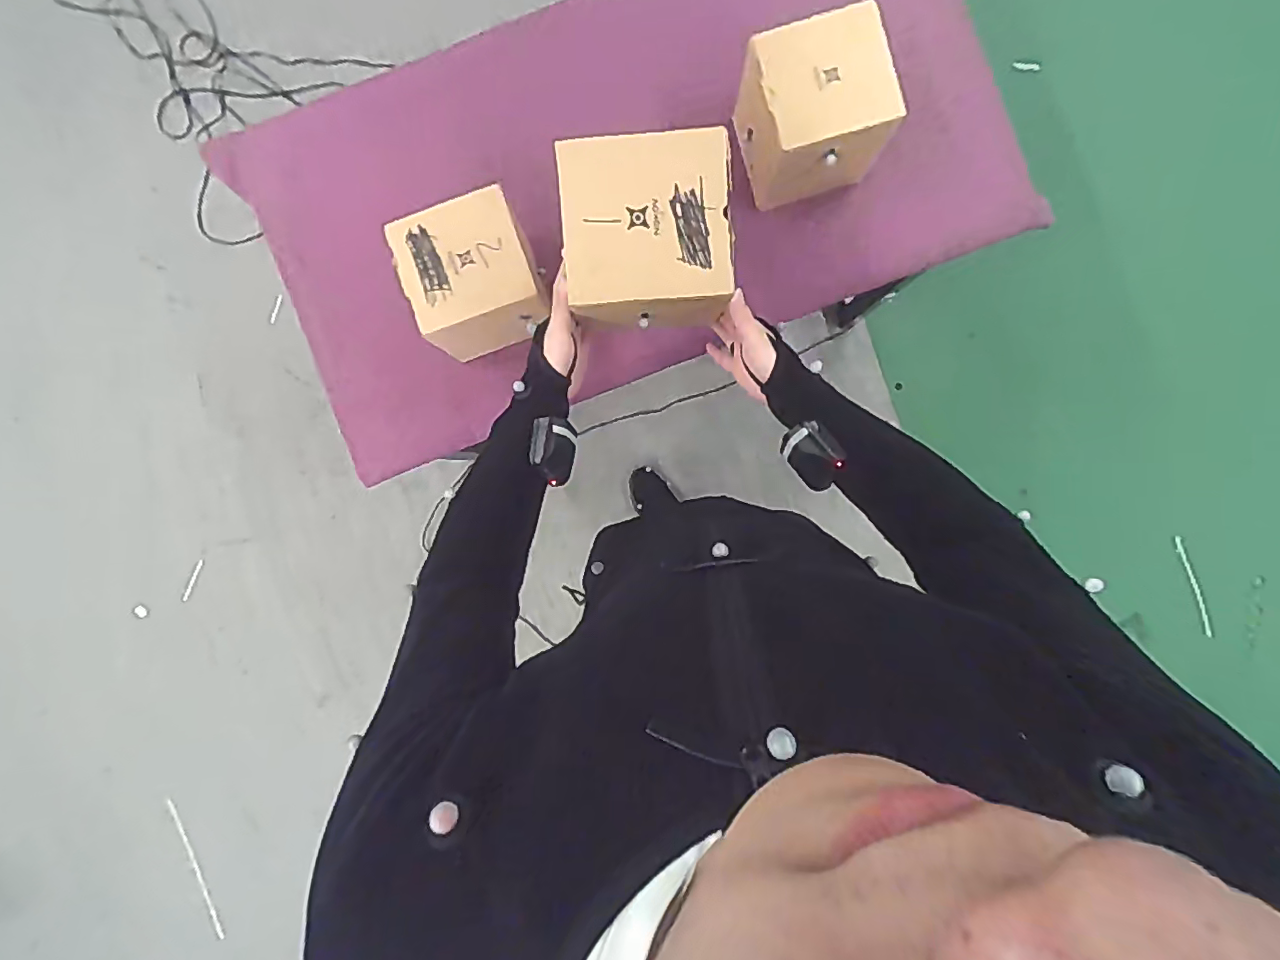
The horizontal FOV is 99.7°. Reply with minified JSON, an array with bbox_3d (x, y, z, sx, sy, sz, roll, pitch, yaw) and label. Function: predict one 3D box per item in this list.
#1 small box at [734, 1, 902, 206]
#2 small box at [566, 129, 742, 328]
[{"bbox_3d":[0.255,-0.550,0.815,0.179,0.176,0.168,-16,91,3],"label":"small box"},{"bbox_3d":[0.015,-0.276,0.629,0.179,0.176,0.168,-3,96,1],"label":"small box"}]
